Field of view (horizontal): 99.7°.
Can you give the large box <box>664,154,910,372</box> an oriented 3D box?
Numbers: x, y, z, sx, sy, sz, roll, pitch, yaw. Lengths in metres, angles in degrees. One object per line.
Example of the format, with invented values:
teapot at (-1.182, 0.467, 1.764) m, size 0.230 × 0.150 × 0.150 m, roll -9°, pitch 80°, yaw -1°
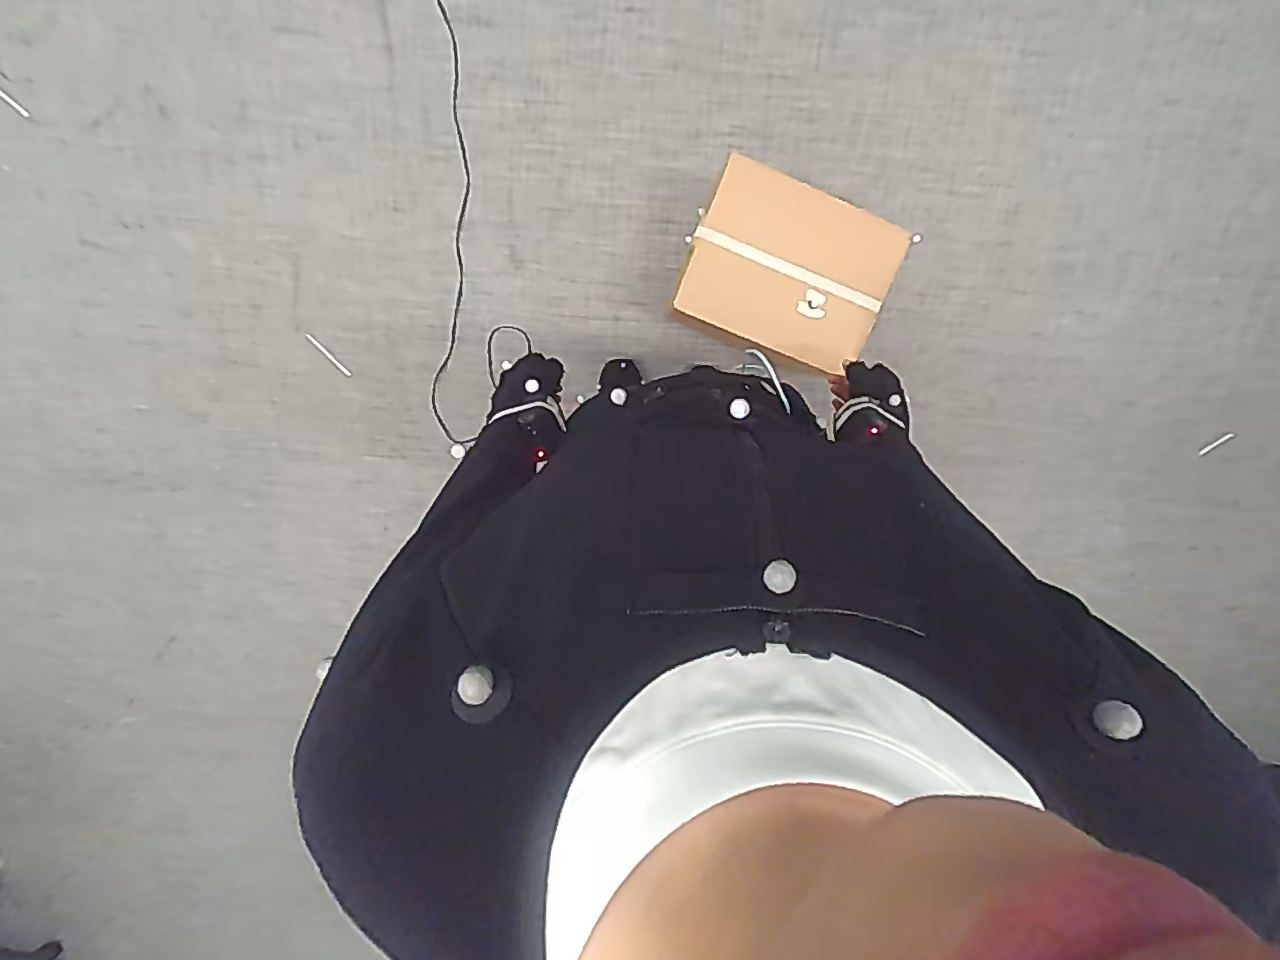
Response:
large box at (0.301, -0.465, 1.241) m, size 0.408 × 0.320 × 0.320 m, roll 20°, pitch 103°, yaw -7°
